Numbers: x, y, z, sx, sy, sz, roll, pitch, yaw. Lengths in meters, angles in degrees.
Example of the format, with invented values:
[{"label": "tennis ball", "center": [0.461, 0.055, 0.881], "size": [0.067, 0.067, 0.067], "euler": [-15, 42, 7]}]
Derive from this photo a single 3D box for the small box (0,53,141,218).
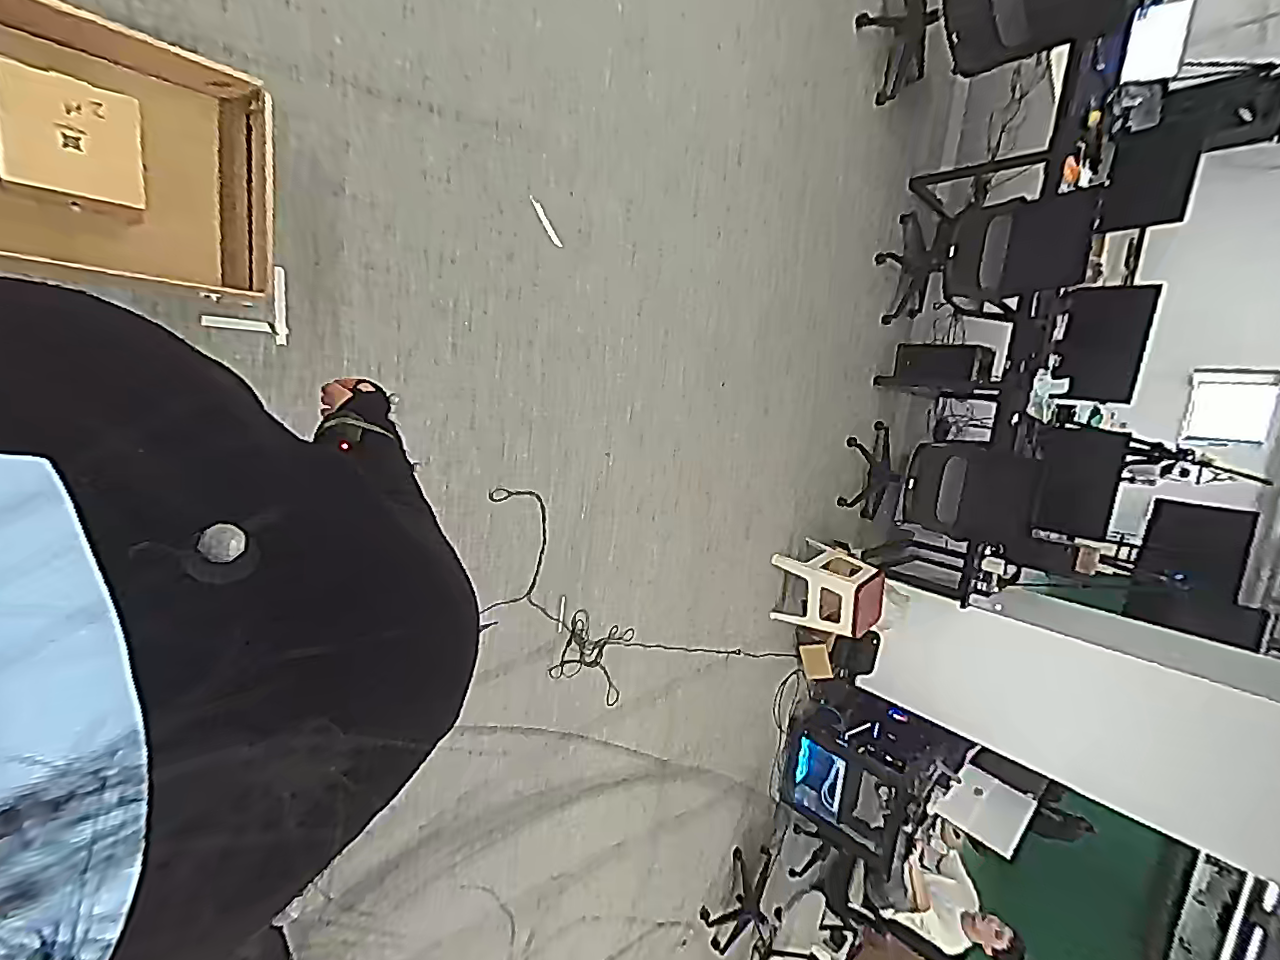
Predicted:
[{"label": "small box", "center": [-0.954, -0.561, 0.909], "size": [0.168, 0.176, 0.179], "euler": [-3, 103, -43]}]
